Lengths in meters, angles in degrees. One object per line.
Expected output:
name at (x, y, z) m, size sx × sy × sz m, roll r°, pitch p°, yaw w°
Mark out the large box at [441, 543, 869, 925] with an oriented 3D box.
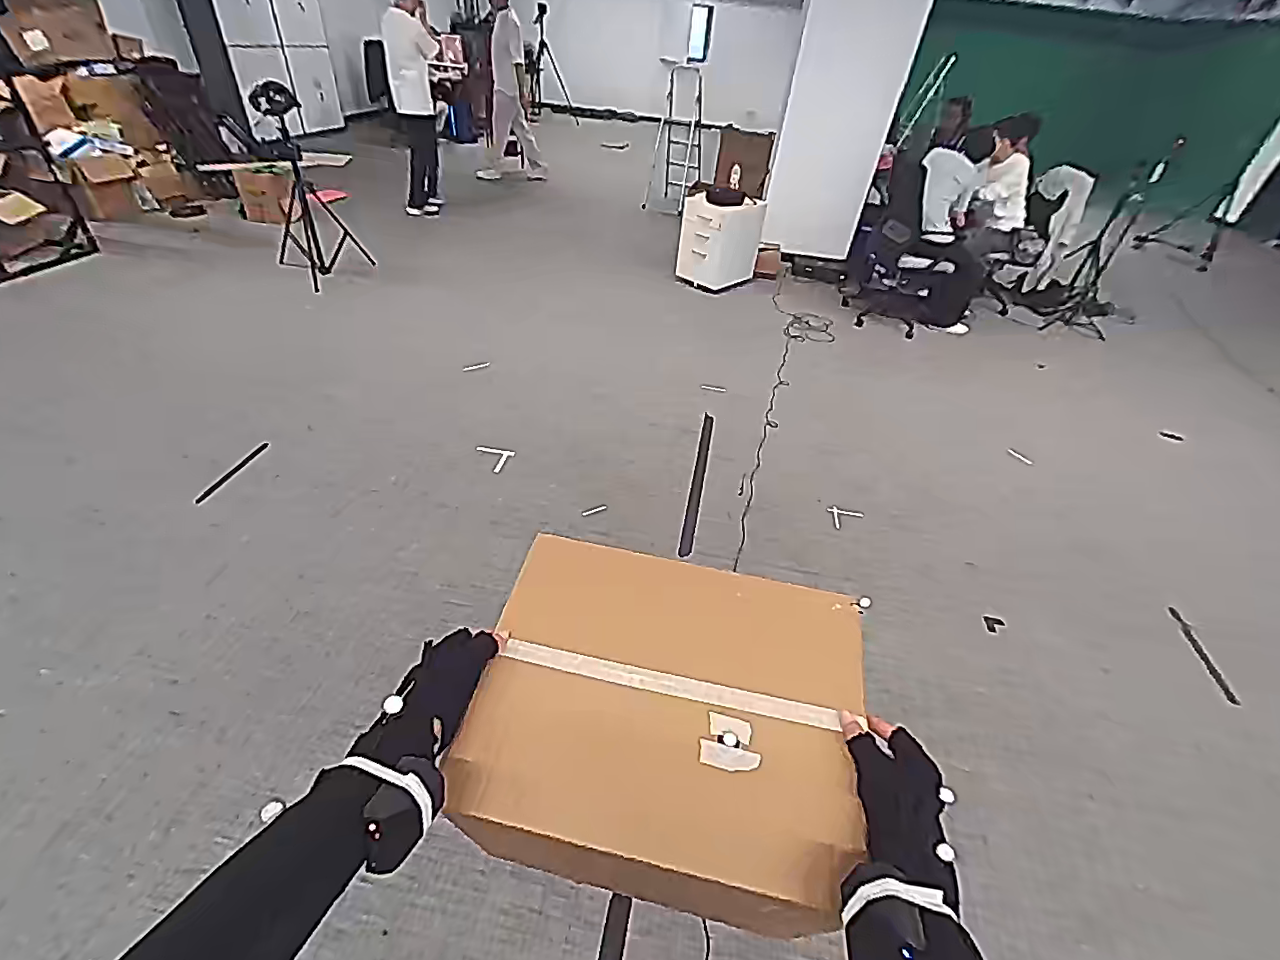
large box at (0.026, 0.323, 0.695) m, size 0.408 × 0.320 × 0.320 m, roll 11°, pitch 49°, yaw 6°
